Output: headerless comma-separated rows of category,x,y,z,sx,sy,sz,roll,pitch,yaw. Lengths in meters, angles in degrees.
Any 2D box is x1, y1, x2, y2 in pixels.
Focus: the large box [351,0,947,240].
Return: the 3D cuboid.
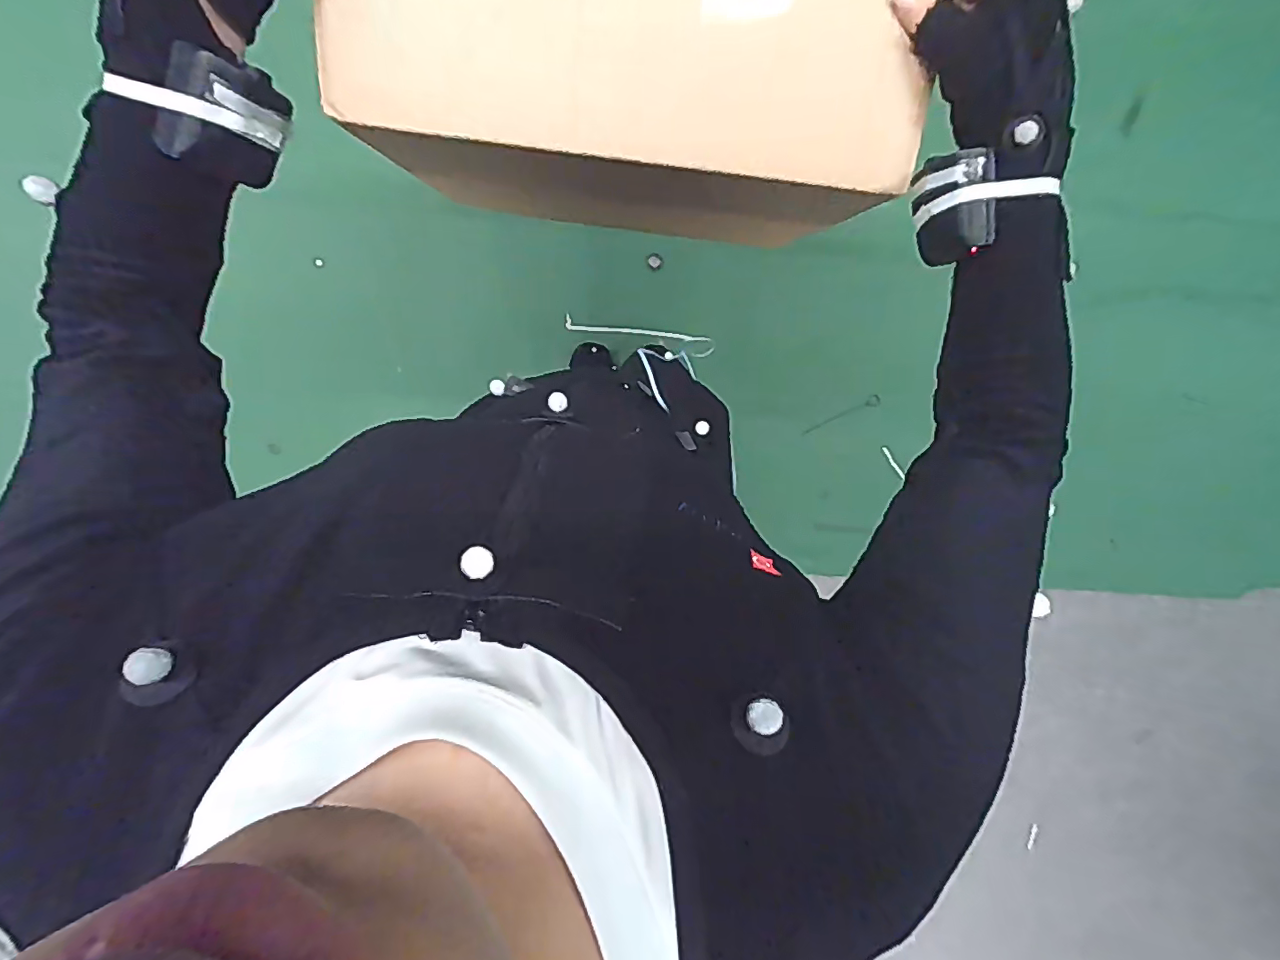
large box,0.007,-0.421,0.485,0.408,0.320,0.320,5,107,-5
